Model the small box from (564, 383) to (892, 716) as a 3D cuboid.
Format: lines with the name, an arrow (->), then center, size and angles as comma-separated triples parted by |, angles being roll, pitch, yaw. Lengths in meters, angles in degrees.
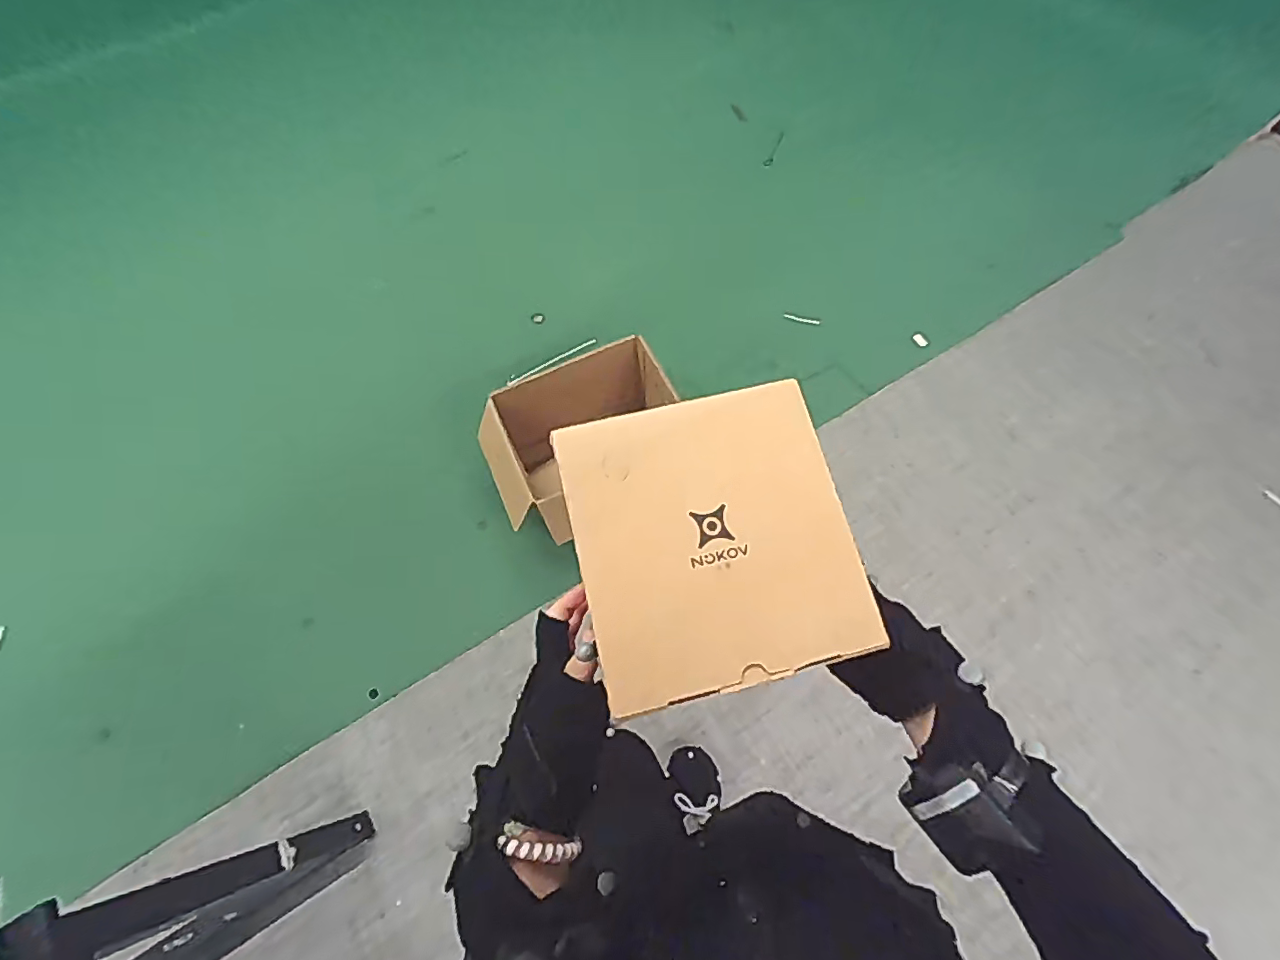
small box -> 0.043, 0.054, 0.401 | 0.168, 0.176, 0.179 | -13, 76, -7
